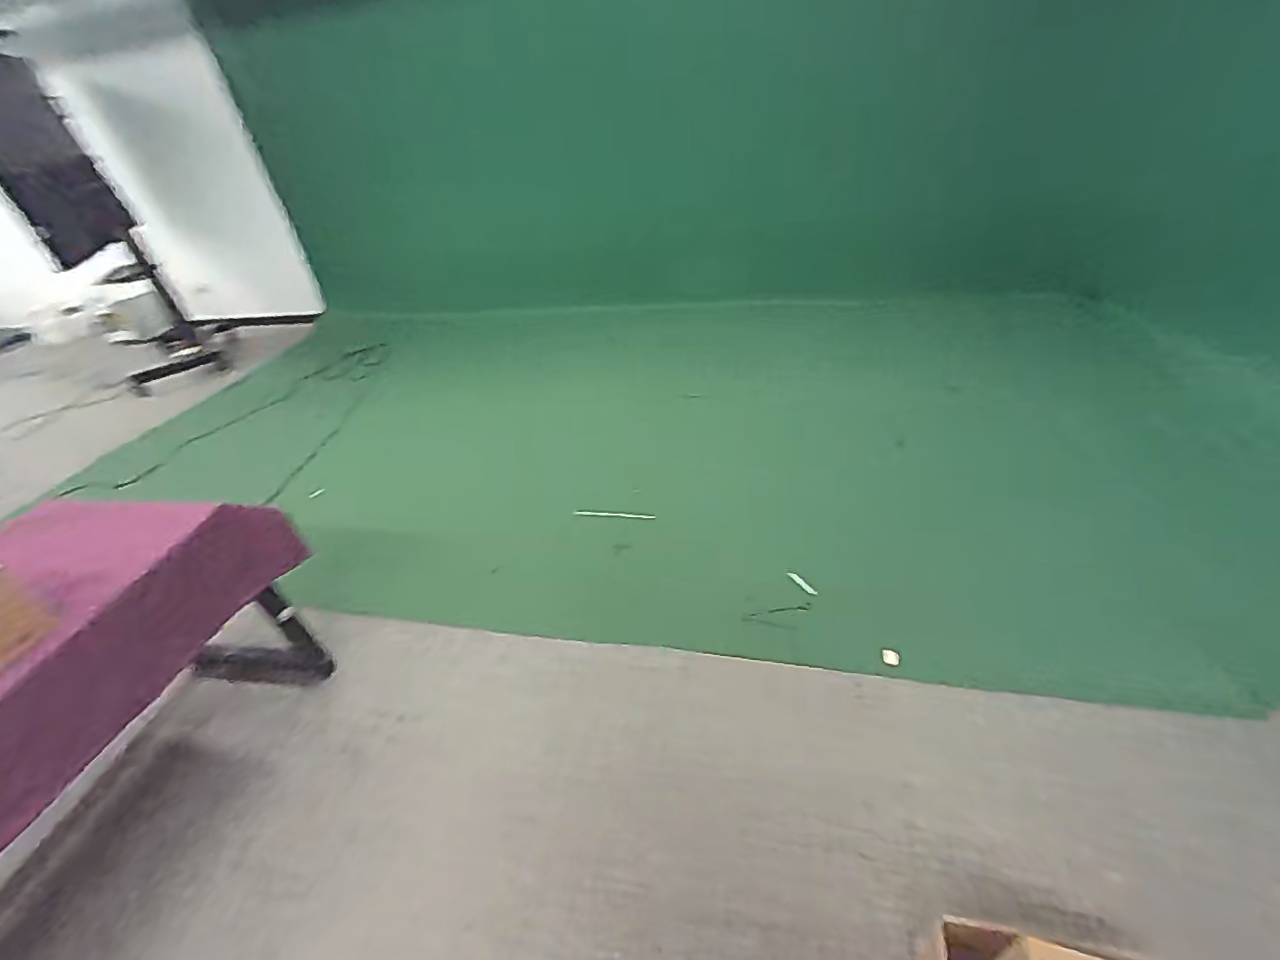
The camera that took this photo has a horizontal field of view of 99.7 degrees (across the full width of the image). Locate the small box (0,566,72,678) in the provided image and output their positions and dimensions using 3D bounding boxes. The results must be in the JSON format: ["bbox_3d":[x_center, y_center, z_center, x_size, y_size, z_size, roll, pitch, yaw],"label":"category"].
[{"bbox_3d":[-1.340,0.289,1.088,0.179,0.176,0.168,0,39,12],"label":"small box"}]

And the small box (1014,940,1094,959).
[{"bbox_3d":[0.676,0.845,0.813,0.179,0.176,0.168,7,40,18],"label":"small box"}]
